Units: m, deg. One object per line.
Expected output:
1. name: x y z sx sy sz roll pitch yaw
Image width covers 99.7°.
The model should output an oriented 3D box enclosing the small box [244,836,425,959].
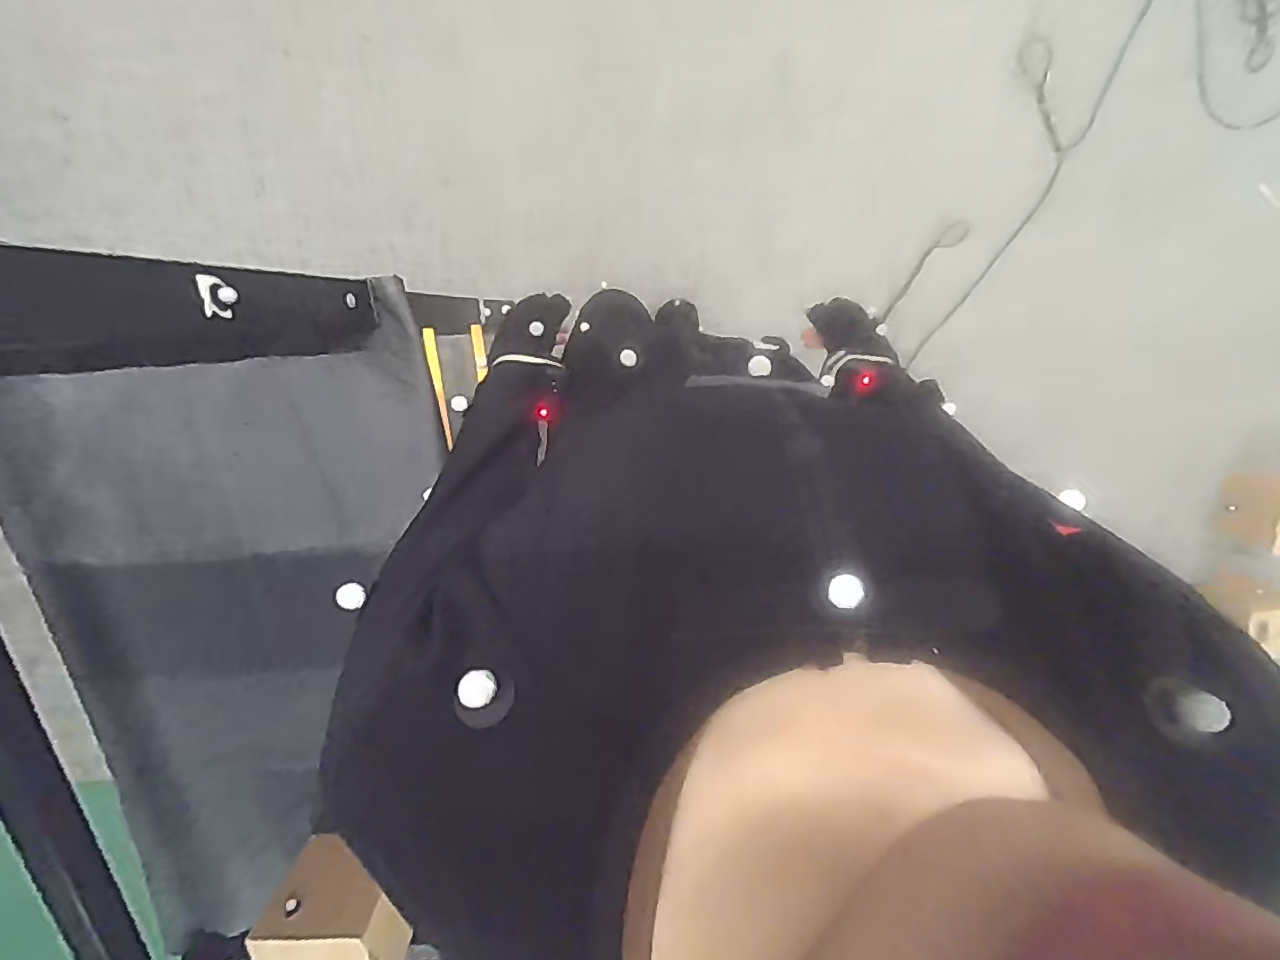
1. small box: -0.470 0.701 0.860 0.179 0.176 0.168 -2 107 1

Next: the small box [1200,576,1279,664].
1. small box: 1.746 0.388 1.520 0.179 0.176 0.168 -10 107 3

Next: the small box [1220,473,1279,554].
1. small box: 1.721 0.085 1.428 0.179 0.176 0.168 -5 107 3
